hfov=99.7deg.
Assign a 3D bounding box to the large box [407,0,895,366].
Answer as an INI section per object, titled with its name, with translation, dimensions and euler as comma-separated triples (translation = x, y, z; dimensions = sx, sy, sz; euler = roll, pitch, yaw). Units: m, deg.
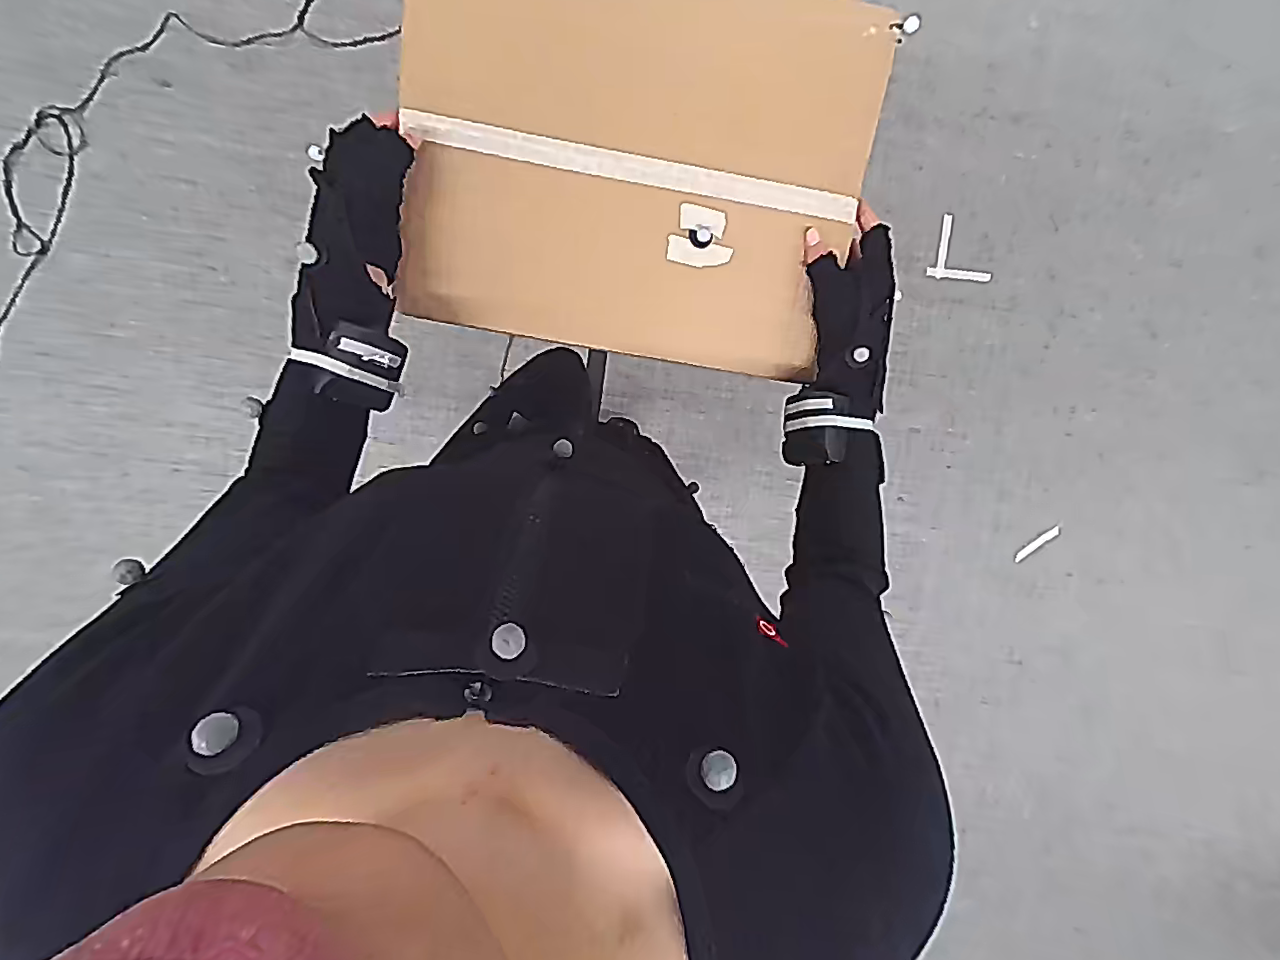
[large box]
translation = -0.009, -0.321, 0.622
dimensions = 0.408, 0.320, 0.320
euler = 8, 105, -5
